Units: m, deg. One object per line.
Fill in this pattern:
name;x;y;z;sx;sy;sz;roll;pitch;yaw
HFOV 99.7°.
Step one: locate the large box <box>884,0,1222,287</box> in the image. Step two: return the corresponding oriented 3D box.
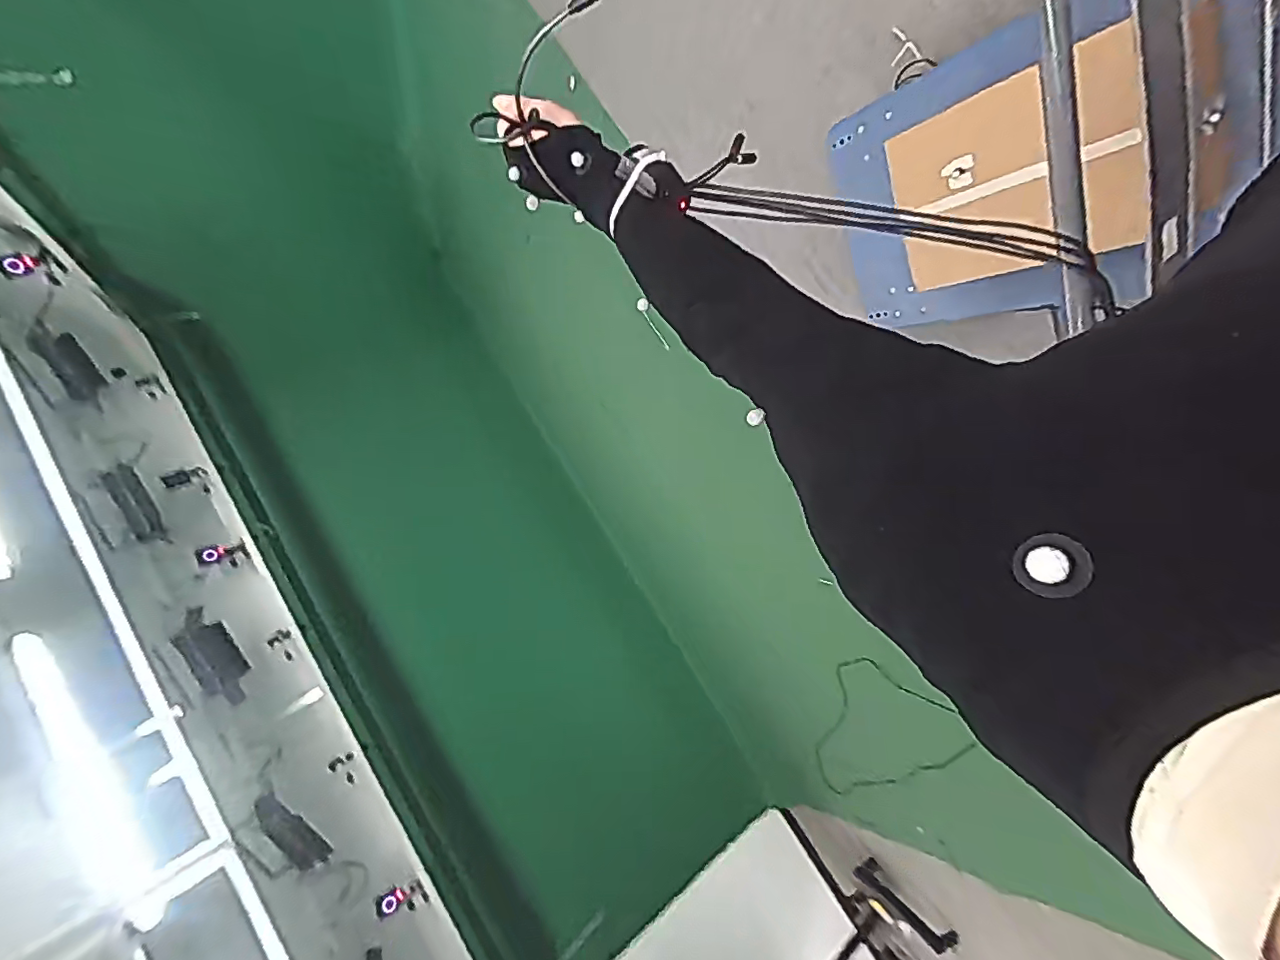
large box;0.760;-0.607;1.022;0.408;0.320;0.320;12;128;60
